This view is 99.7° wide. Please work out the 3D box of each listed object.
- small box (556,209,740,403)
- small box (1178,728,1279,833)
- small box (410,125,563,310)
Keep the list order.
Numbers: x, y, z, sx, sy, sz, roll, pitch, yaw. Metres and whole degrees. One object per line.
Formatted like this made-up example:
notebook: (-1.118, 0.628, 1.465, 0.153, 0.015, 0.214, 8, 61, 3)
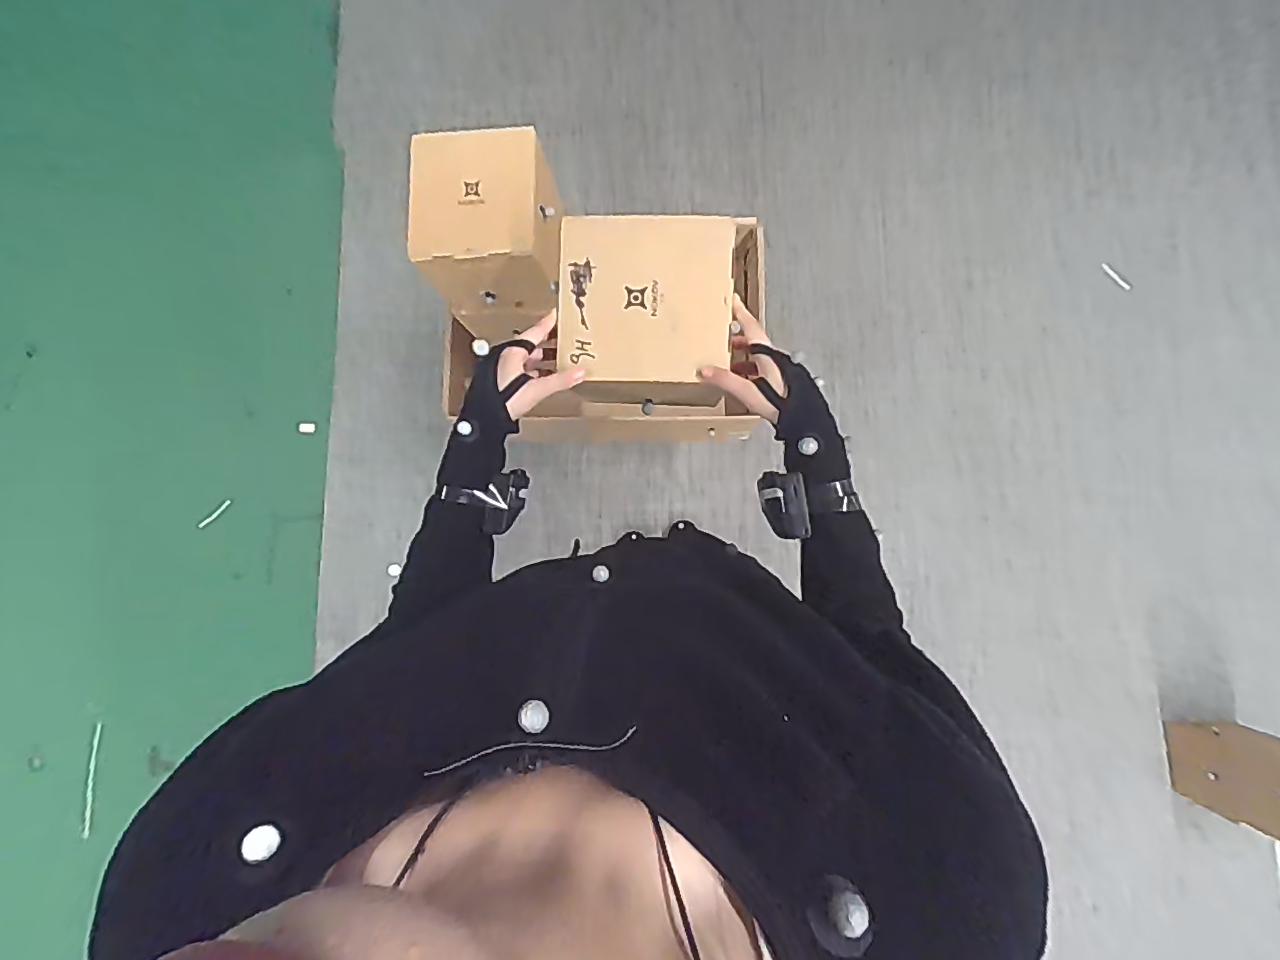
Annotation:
small box: (0.011, -0.182, 0.610, 0.179, 0.176, 0.168, 2, 89, 4)
small box: (1.429, 0.696, 1.270, 0.168, 0.176, 0.179, -2, 83, 5)
small box: (-0.206, -0.361, 0.770, 0.168, 0.176, 0.179, -2, 84, 4)
